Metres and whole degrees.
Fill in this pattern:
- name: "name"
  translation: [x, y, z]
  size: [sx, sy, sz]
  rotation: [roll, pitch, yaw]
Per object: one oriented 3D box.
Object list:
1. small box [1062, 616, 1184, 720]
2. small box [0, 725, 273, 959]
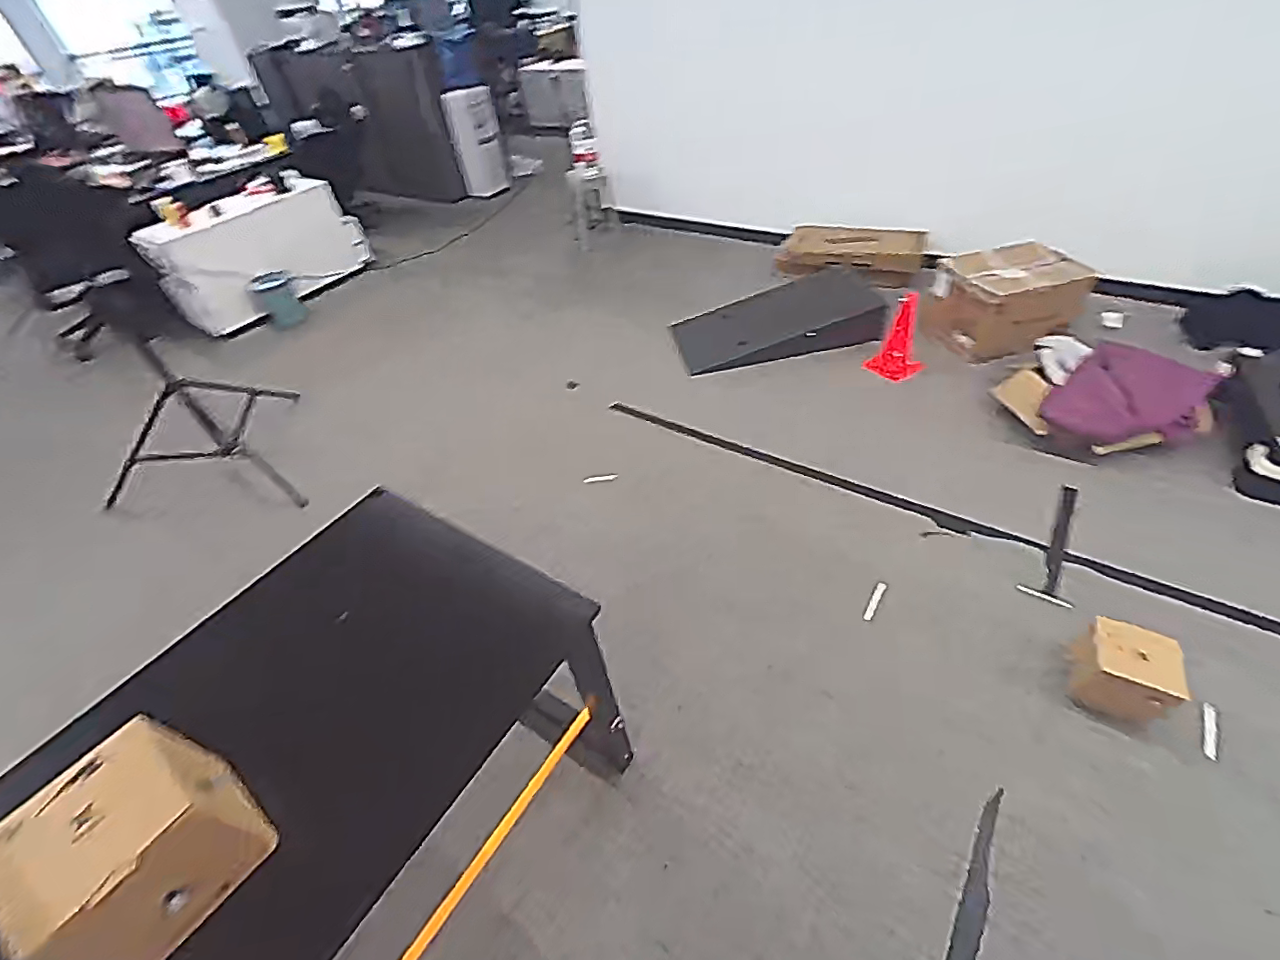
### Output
- name: "small box"
  translation: [1.221, 0.485, 1.380]
  size: [0.179, 0.176, 0.168]
  rotation: [17, 50, 23]
- name: "small box"
  translation: [-0.589, 0.435, 0.641]
  size: [0.179, 0.176, 0.168]
  rotation: [24, 53, 28]
